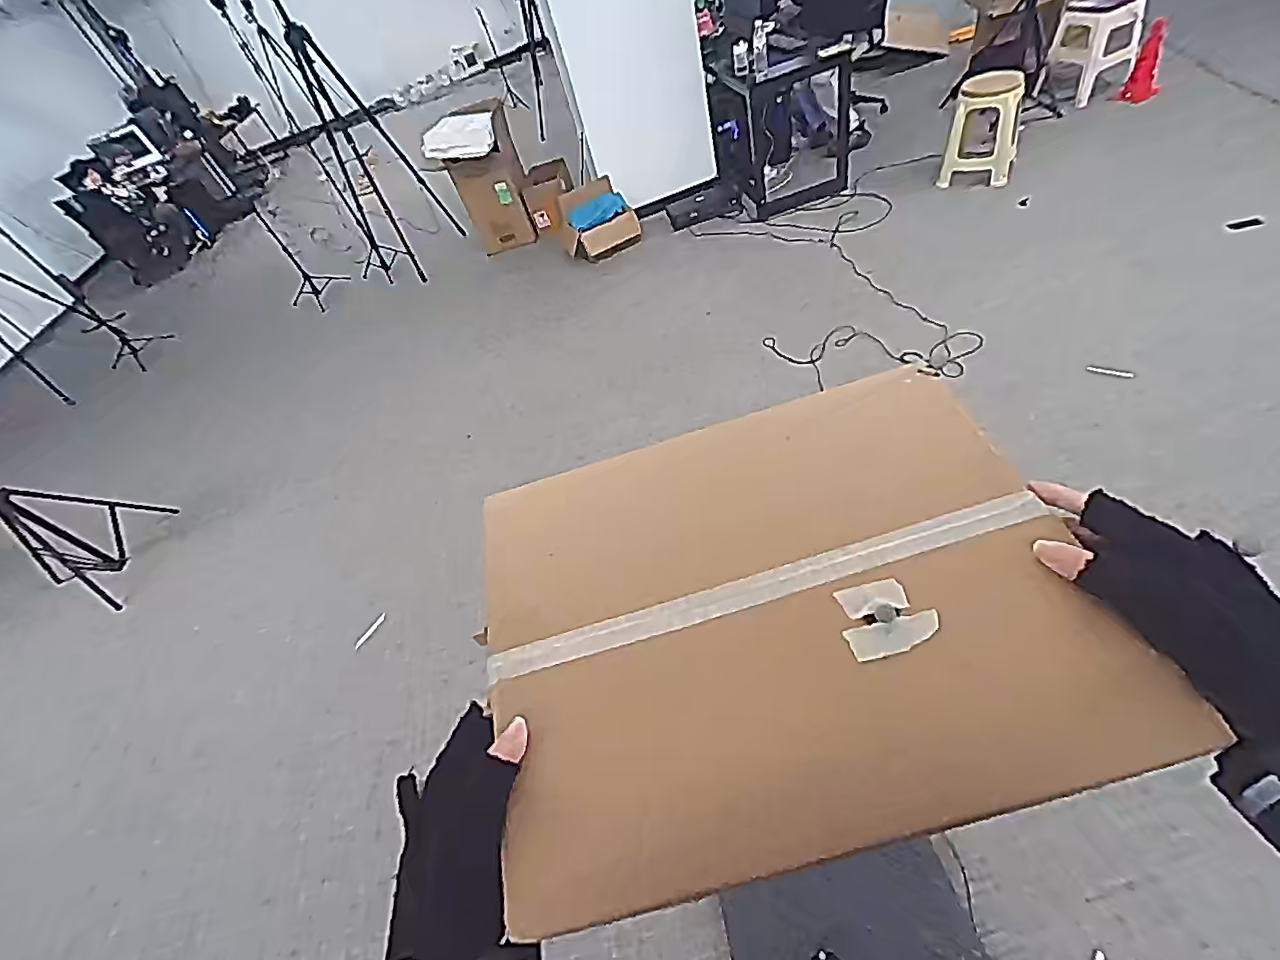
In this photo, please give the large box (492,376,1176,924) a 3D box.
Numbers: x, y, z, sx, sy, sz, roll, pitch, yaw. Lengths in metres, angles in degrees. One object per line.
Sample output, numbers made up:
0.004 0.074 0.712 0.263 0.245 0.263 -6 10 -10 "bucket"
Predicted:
0.115 0.167 0.519 0.408 0.320 0.320 -18 54 2 "large box"
